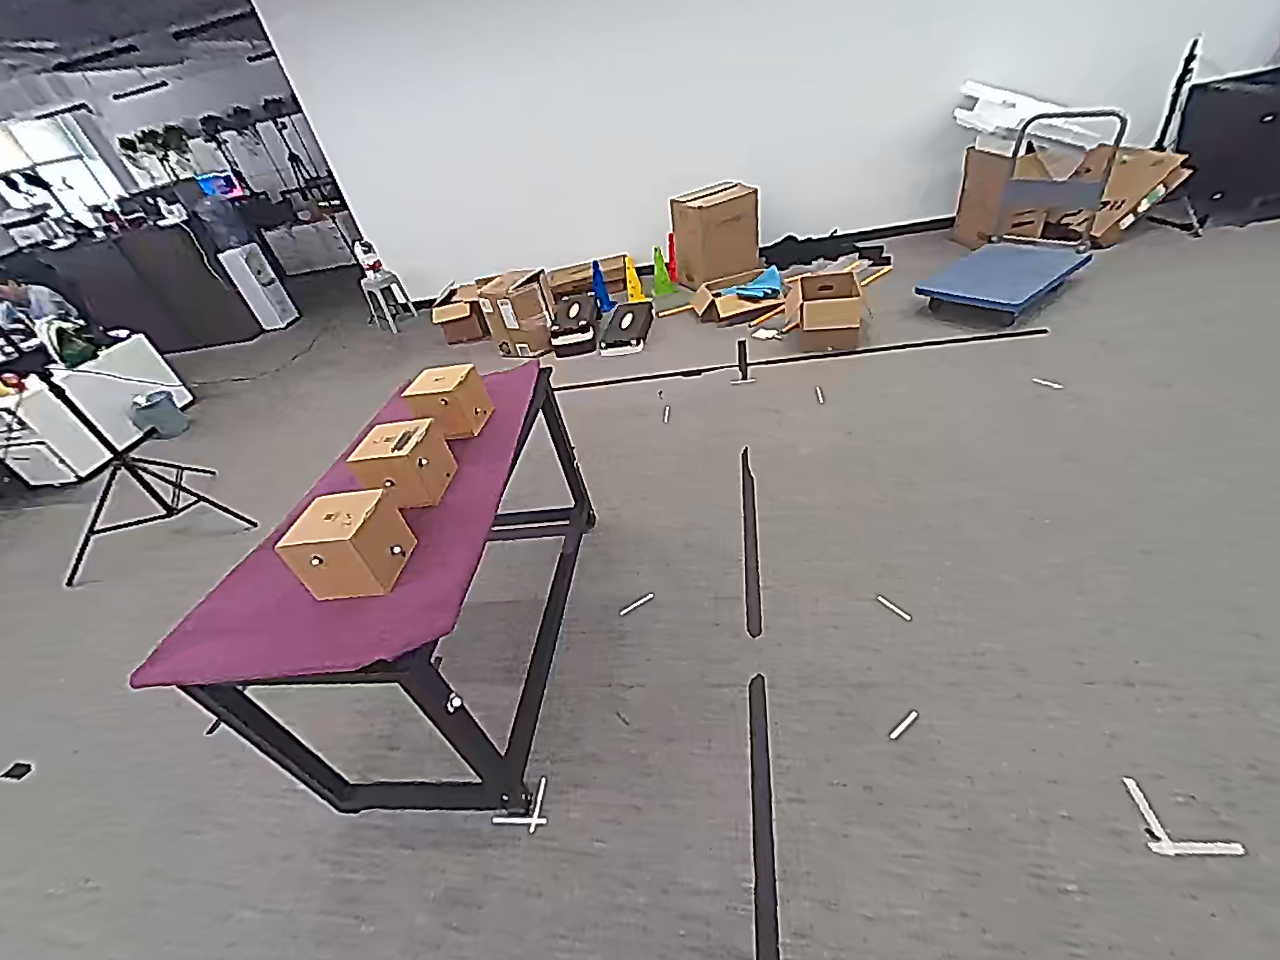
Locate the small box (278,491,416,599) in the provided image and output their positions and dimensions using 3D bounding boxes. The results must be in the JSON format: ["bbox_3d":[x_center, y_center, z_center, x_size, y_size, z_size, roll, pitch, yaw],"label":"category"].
[{"bbox_3d":[-0.633,0.146,1.191,0.179,0.176,0.168,-6,37,9],"label":"small box"}]

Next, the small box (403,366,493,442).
[{"bbox_3d":[-0.581,-0.229,1.660,0.179,0.176,0.168,-4,38,14],"label":"small box"}]
